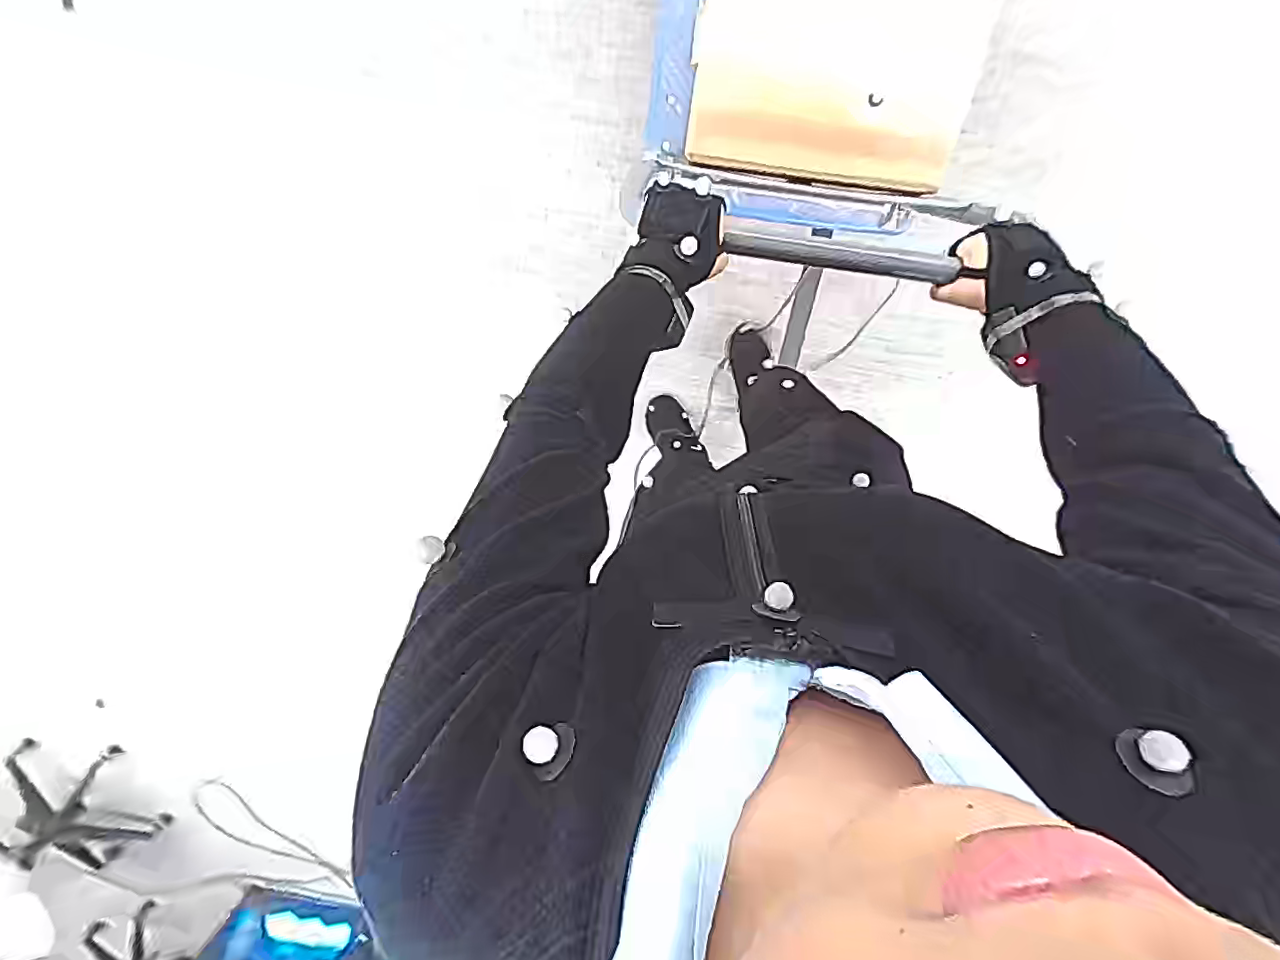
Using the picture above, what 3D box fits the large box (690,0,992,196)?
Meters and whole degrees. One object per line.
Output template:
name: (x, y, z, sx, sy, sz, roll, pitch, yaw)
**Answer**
large box: (0.301, -0.687, 0.935, 0.408, 0.320, 0.320, 8, 118, 2)
